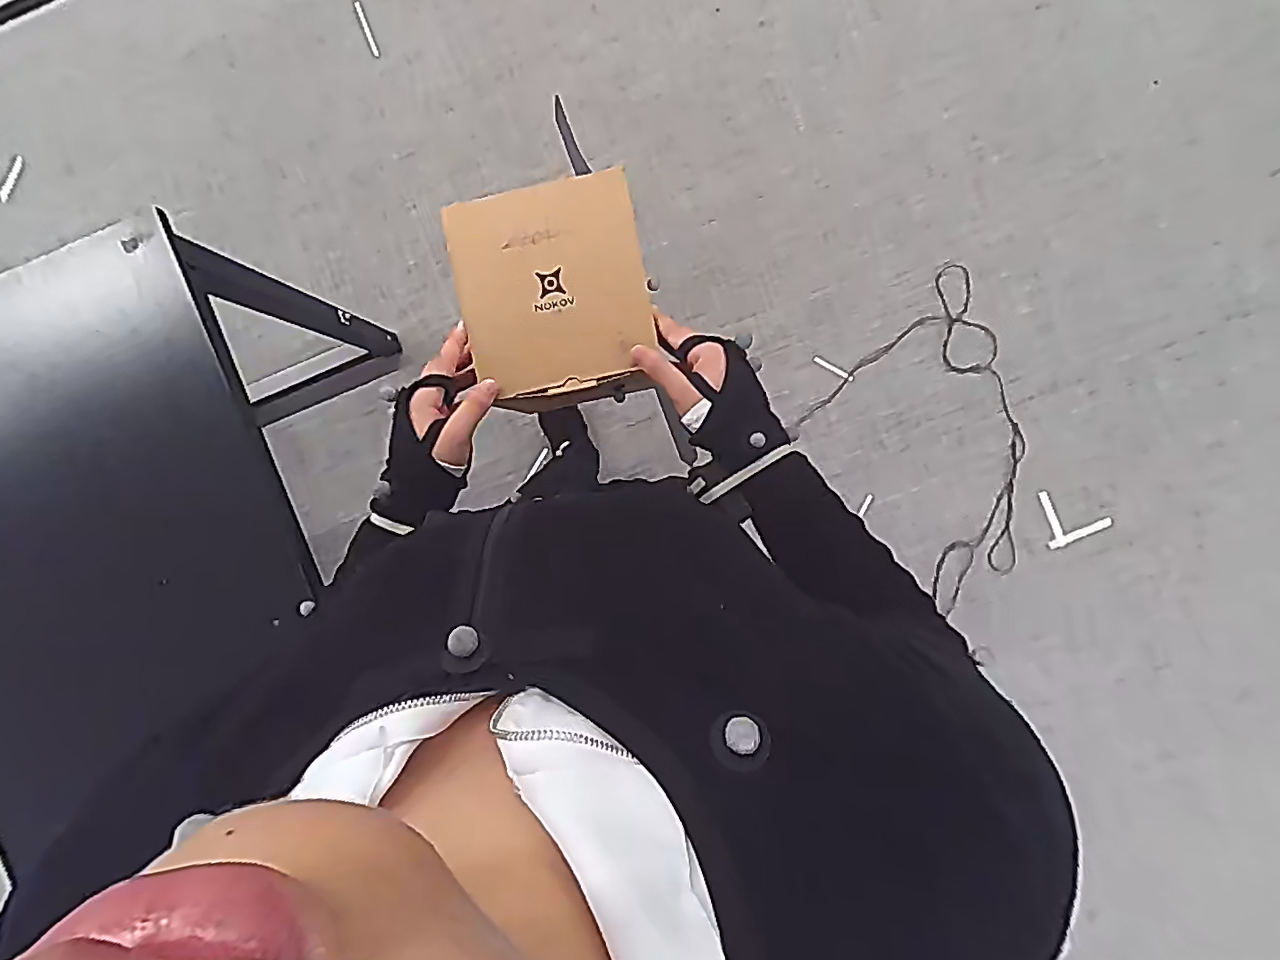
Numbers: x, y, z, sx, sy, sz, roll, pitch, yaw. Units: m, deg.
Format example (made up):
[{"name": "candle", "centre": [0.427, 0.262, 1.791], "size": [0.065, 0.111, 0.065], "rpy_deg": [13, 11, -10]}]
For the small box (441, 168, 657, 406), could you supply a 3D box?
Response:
[{"name": "small box", "centre": [-0.077, -0.176, 0.552], "size": [0.168, 0.176, 0.179], "rpy_deg": [-11, 93, 1]}]

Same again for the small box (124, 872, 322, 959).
[{"name": "small box", "centre": [-0.570, 0.668, 0.716], "size": [0.168, 0.176, 0.179], "rpy_deg": [-23, 91, 3]}]
